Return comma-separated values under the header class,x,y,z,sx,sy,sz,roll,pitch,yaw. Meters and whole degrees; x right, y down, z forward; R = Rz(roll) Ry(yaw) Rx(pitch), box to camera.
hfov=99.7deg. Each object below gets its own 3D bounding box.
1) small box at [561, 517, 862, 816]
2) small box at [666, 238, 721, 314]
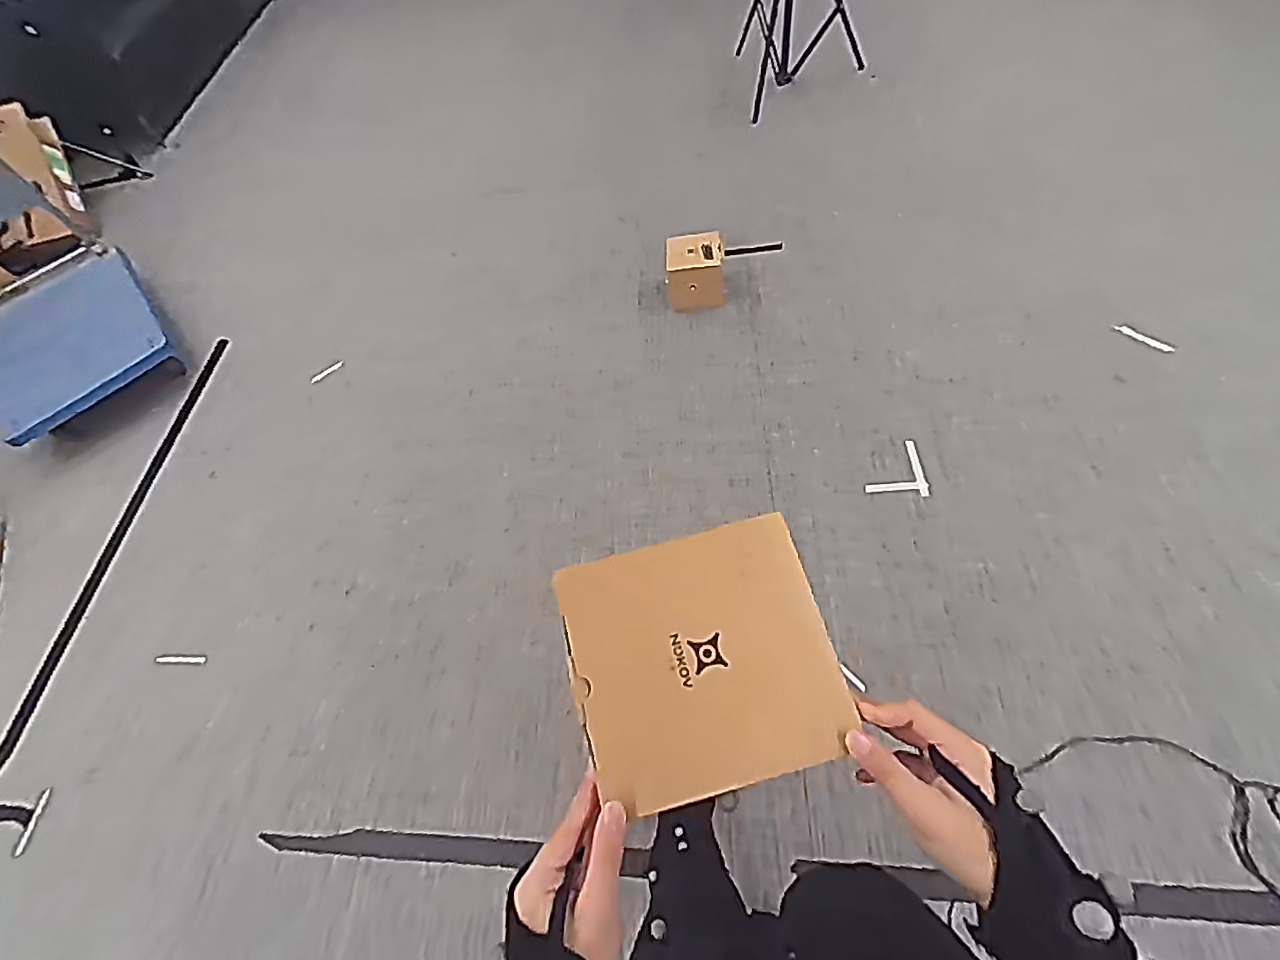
class,x,y,z,sx,sy,sz,roll,pitch,yaw
small box,0.048,0.148,0.449,0.179,0.176,0.168,-15,69,-1
small box,0.184,-0.686,1.832,0.179,0.176,0.168,-3,60,9
